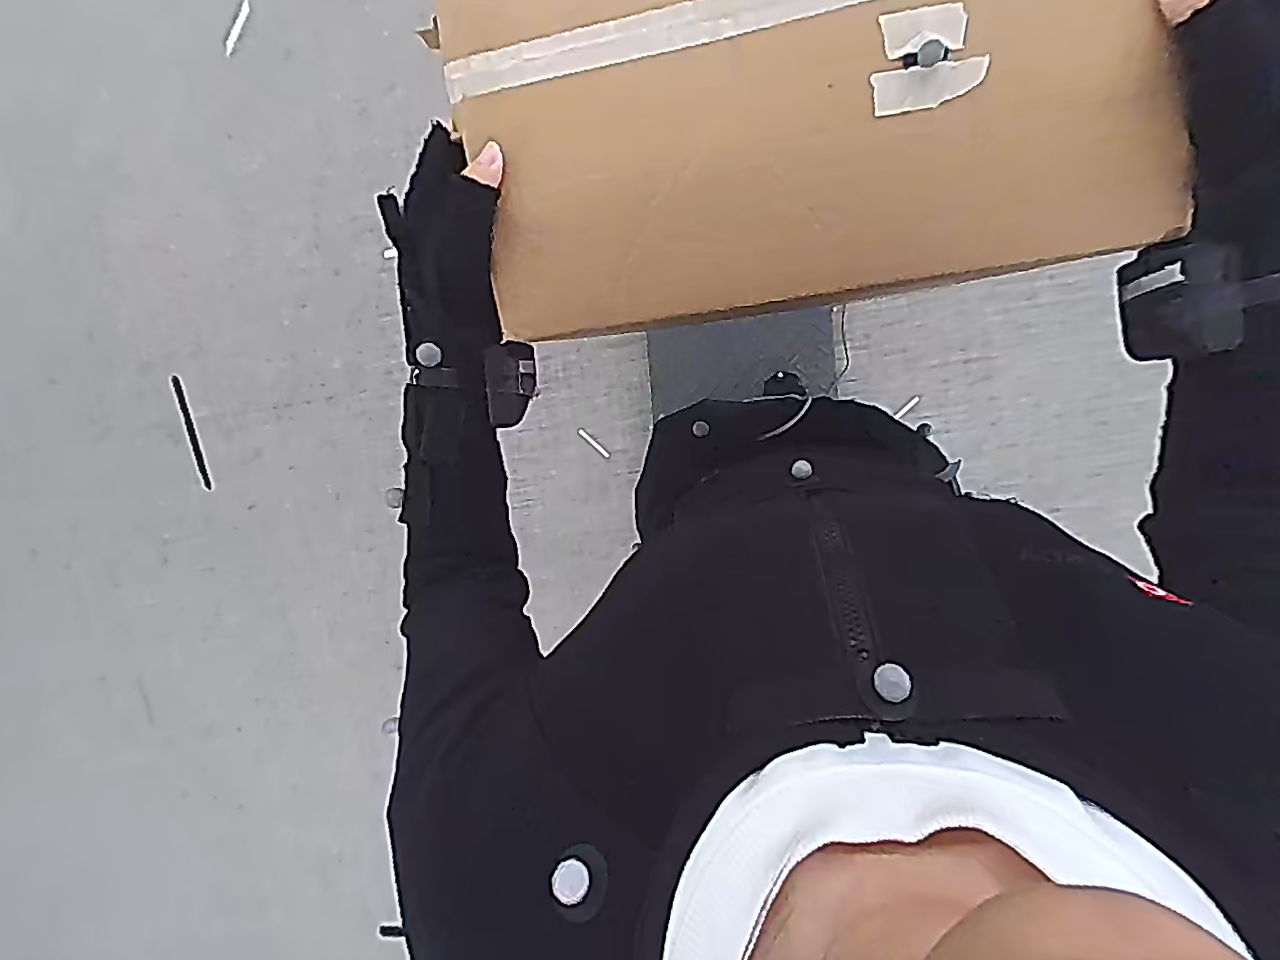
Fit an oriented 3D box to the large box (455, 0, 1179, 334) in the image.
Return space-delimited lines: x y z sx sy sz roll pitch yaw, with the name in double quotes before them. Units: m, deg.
"large box" 0.104 -0.312 0.454 0.408 0.320 0.320 -7 105 9
